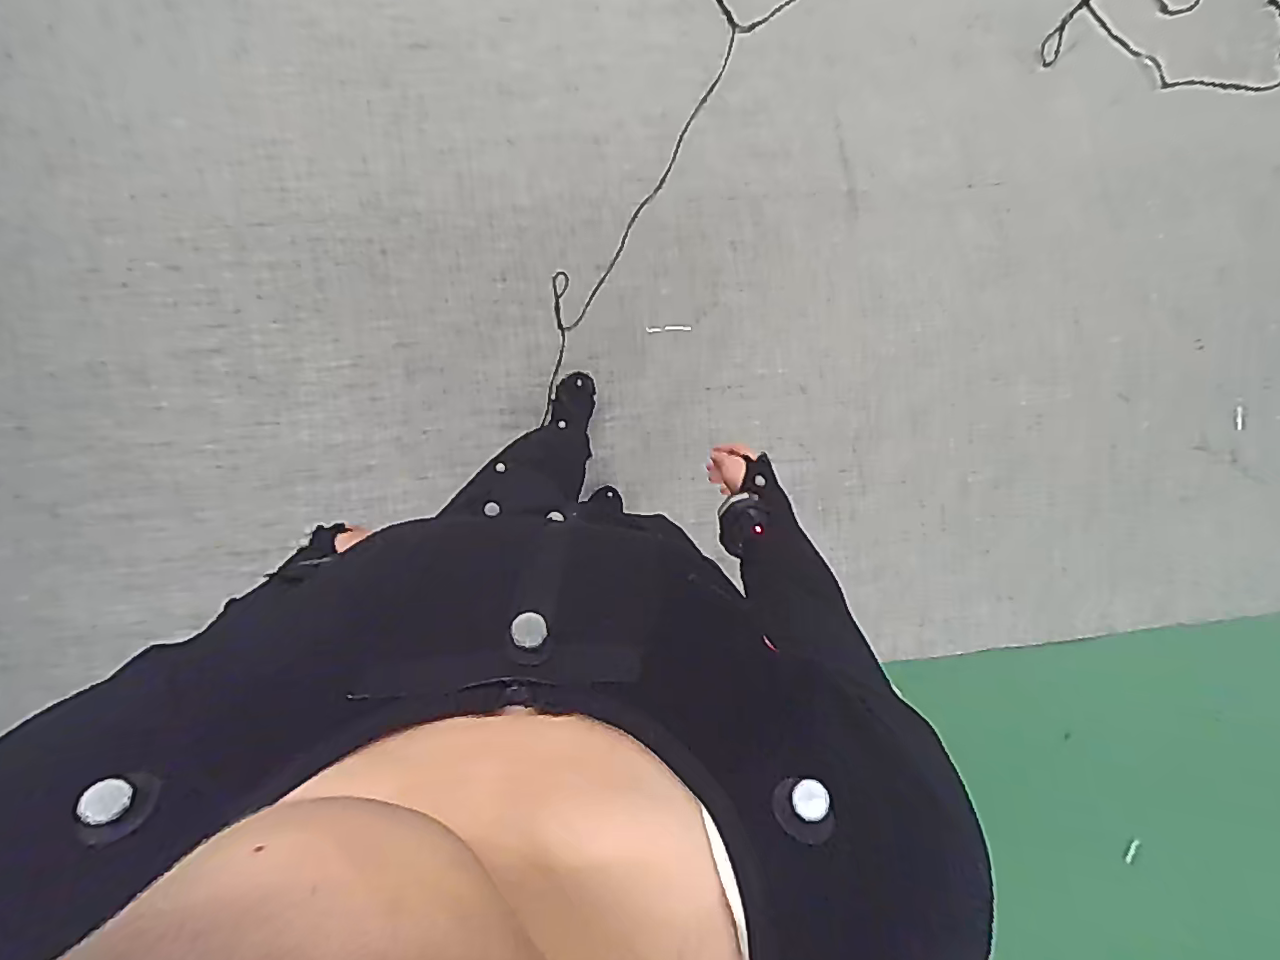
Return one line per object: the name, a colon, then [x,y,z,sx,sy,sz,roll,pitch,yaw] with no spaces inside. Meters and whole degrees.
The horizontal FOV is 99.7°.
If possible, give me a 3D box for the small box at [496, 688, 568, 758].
small box: [-0.267,0.644,1.358,0.168,0.176,0.179,1,92,-6]
